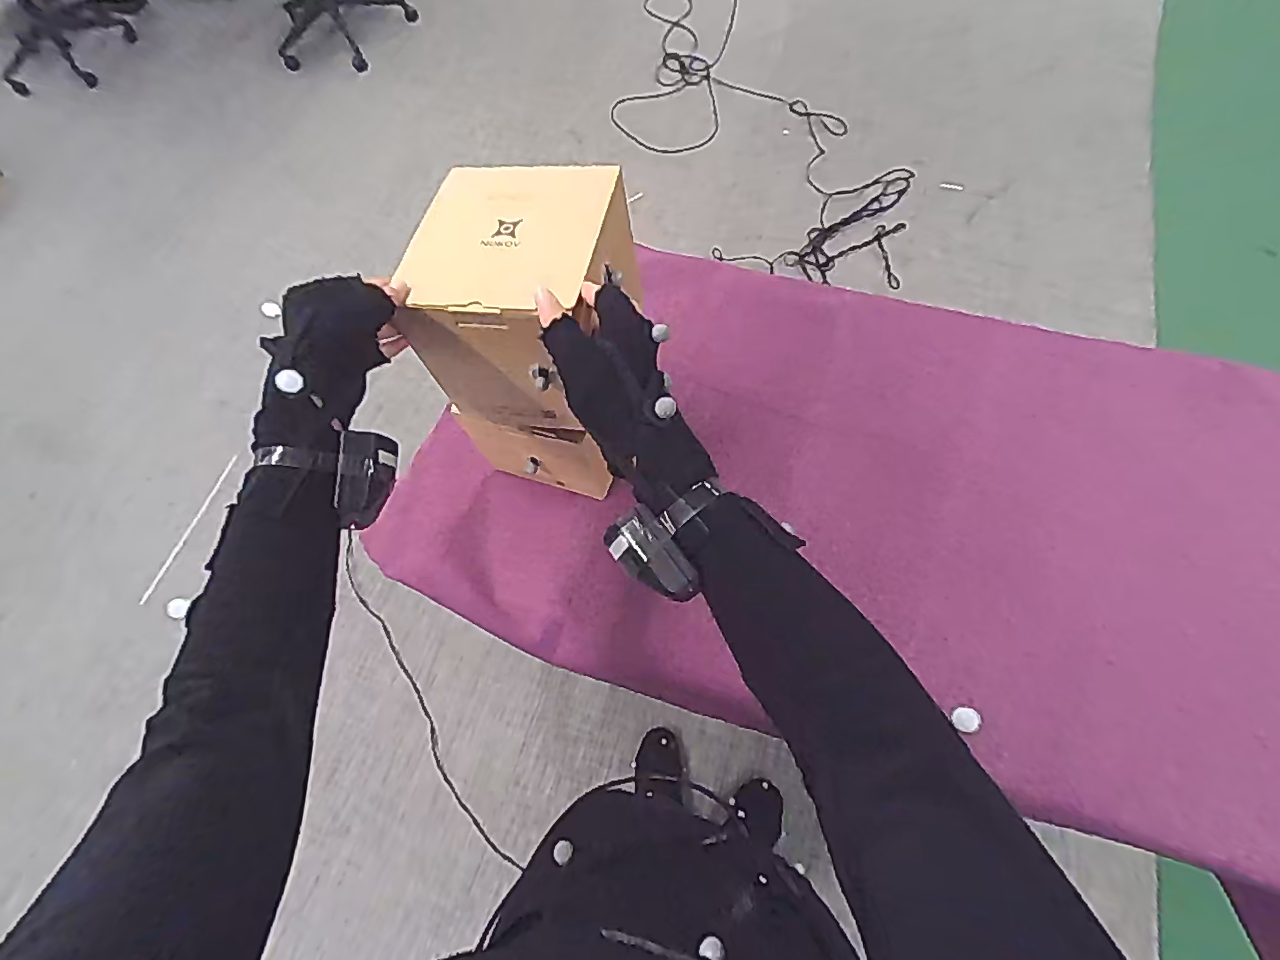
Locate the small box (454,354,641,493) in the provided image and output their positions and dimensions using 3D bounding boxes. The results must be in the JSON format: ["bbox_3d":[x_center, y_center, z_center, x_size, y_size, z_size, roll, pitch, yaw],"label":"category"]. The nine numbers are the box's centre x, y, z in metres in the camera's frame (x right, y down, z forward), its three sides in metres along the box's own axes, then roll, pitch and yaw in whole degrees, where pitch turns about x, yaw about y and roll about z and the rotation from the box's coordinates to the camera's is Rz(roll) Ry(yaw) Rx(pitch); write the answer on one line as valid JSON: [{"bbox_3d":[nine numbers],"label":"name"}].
[{"bbox_3d":[-0.103,-0.102,0.699,0.168,0.176,0.179,15,70,11],"label":"small box"}]

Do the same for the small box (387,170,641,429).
[{"bbox_3d":[-0.100,-0.167,0.526,0.168,0.176,0.179,6,63,12],"label":"small box"}]
